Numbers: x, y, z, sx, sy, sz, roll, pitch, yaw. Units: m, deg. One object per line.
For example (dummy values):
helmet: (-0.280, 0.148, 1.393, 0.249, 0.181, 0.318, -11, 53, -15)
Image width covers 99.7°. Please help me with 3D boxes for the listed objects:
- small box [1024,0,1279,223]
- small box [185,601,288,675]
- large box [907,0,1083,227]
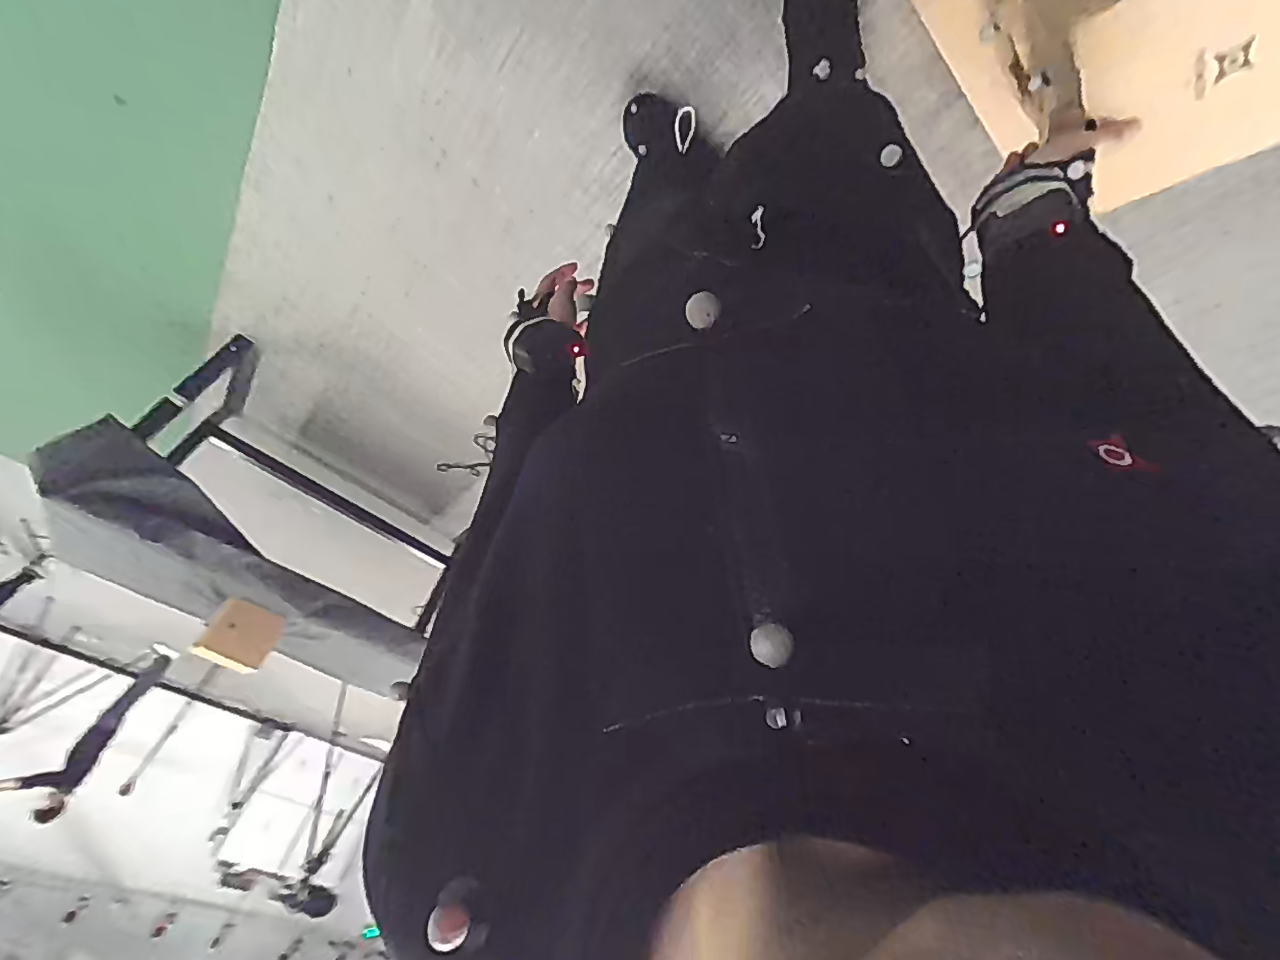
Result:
small box: (0.463, -0.369, 0.464, 0.179, 0.176, 0.168, -16, 131, 33)
small box: (-1.251, 0.487, 1.682, 0.168, 0.176, 0.179, -20, 129, 38)
large box: (0.599, -0.652, 0.727, 0.408, 0.320, 0.320, 36, 138, -24)
